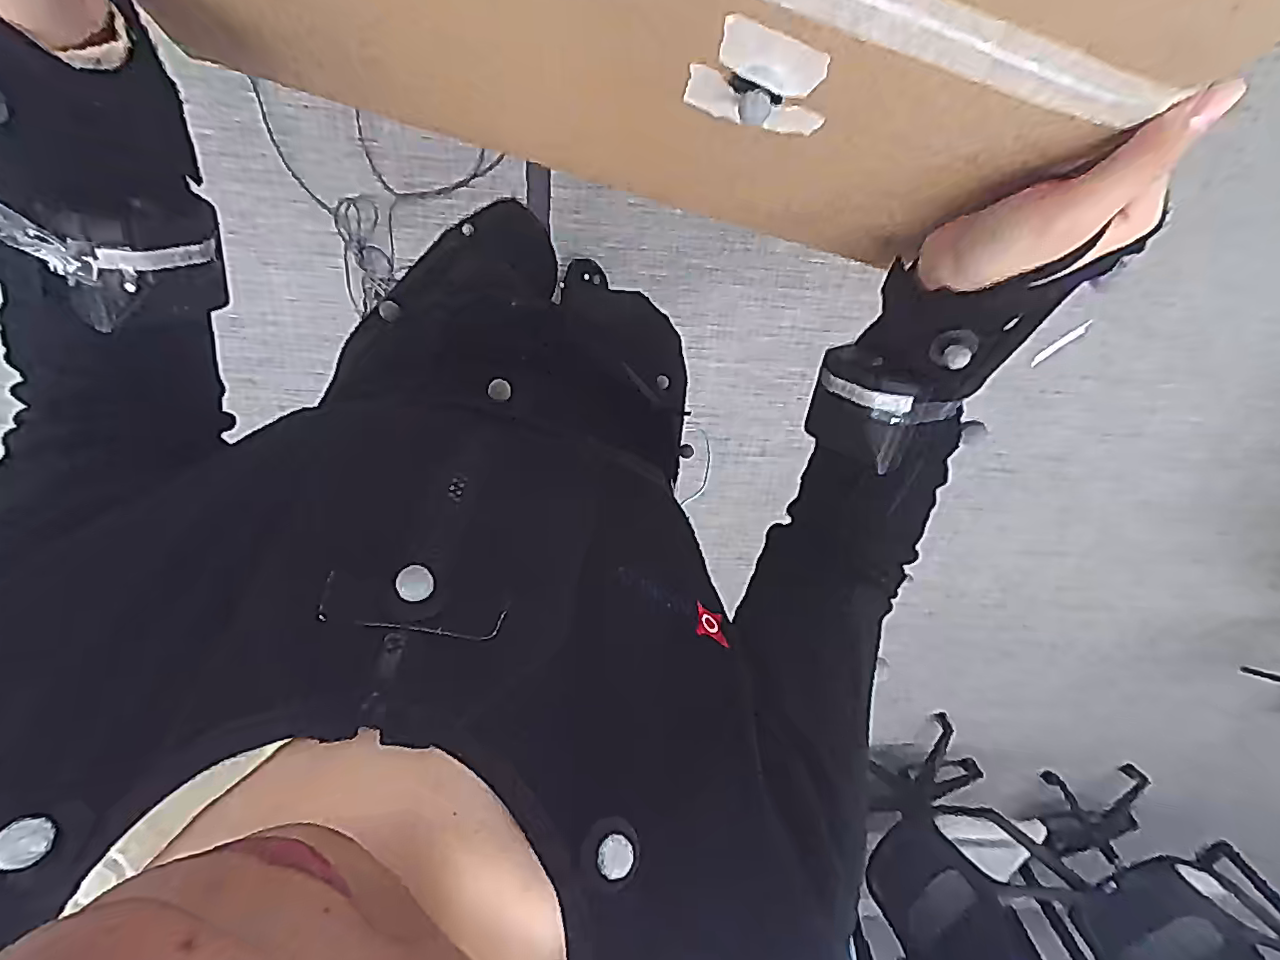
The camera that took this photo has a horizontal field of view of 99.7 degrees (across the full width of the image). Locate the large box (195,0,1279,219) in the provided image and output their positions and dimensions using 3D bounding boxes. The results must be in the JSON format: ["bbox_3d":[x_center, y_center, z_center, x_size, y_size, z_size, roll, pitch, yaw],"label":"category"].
[{"bbox_3d":[0.033,-0.334,0.139,0.408,0.320,0.320,11,90,-9],"label":"large box"}]
